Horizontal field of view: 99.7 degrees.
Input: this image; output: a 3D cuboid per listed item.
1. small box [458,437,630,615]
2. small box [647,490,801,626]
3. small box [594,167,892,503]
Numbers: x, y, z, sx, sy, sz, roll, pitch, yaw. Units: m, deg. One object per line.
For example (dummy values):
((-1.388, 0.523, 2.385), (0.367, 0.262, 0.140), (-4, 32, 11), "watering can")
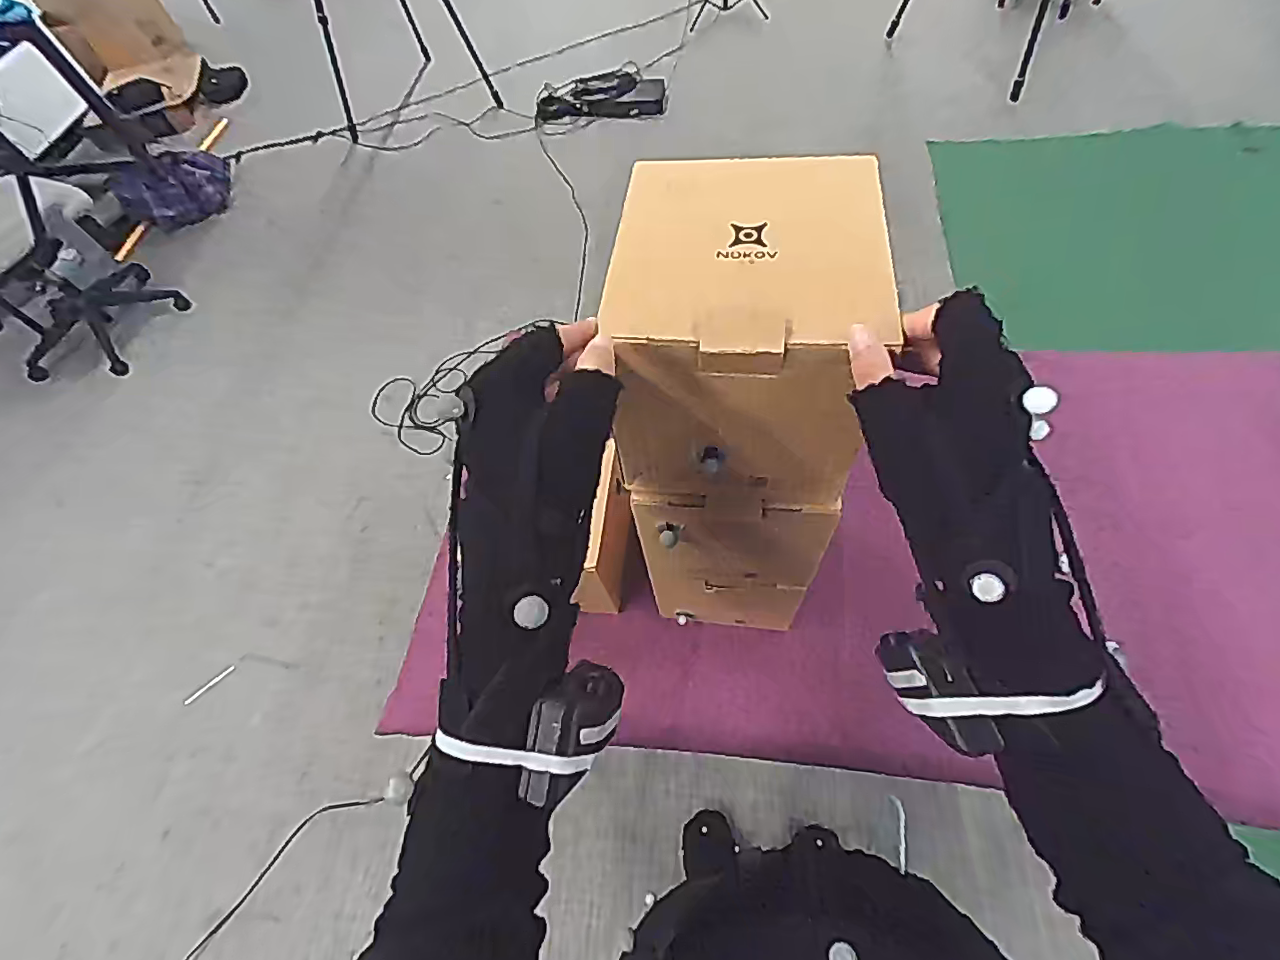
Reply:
((-0.110, 0.063, 0.712), (0.168, 0.176, 0.179), (2, 60, 9), "small box")
((0.108, 0.073, 0.679), (0.168, 0.176, 0.179), (4, 60, 9), "small box")
((0.071, -0.103, 0.405), (0.168, 0.176, 0.179), (3, 60, 9), "small box")
